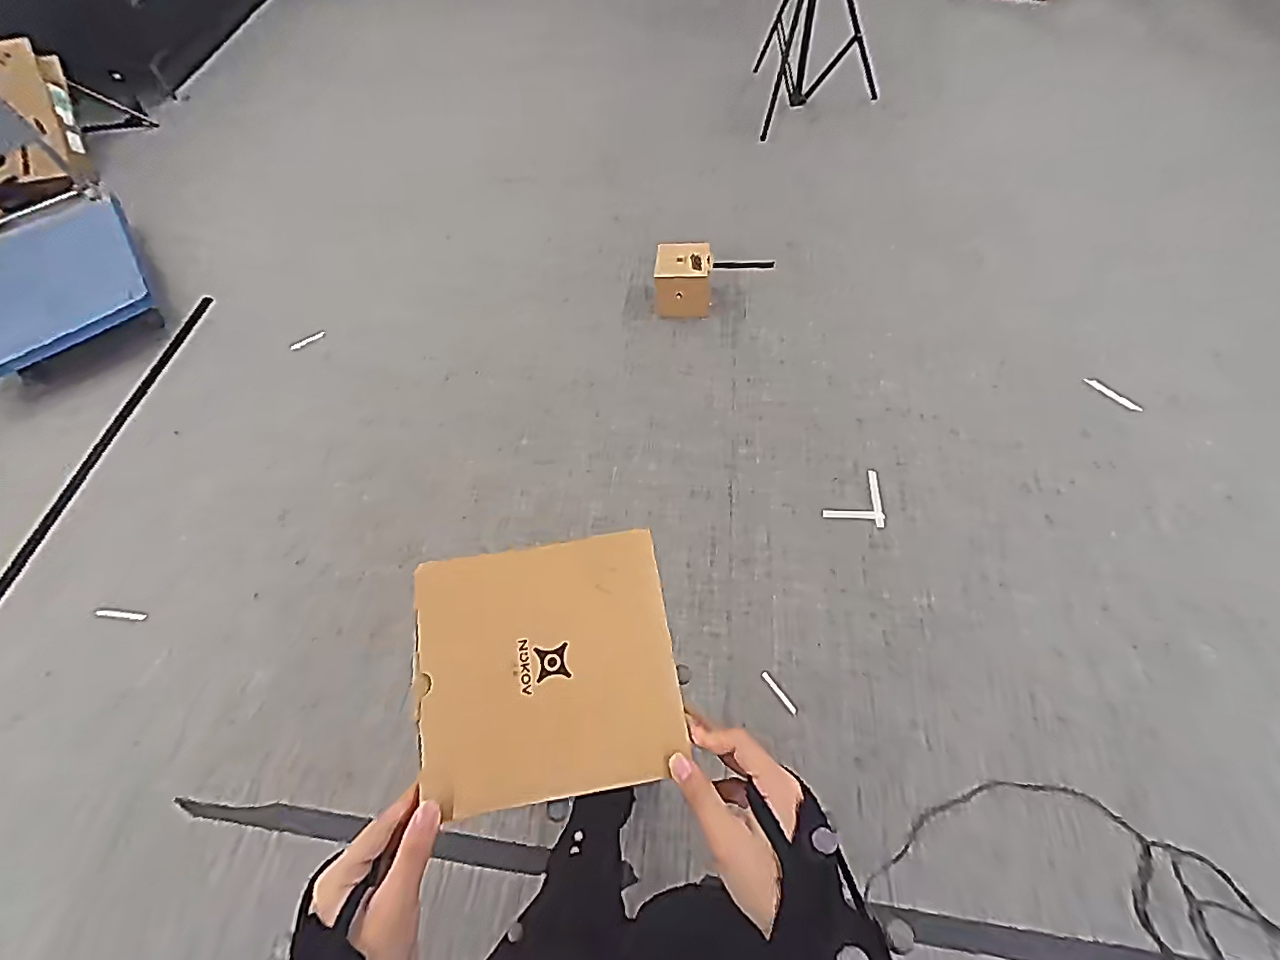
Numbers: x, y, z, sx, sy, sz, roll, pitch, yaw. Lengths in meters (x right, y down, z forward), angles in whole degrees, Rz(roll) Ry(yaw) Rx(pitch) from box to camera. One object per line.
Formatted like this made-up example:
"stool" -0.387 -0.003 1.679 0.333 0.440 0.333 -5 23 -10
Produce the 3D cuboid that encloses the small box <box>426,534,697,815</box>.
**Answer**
"small box" -0.059 0.154 0.450 0.179 0.176 0.168 -9 69 -2

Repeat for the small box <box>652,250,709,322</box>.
"small box" 0.142 -0.656 1.838 0.179 0.176 0.168 3 60 9
